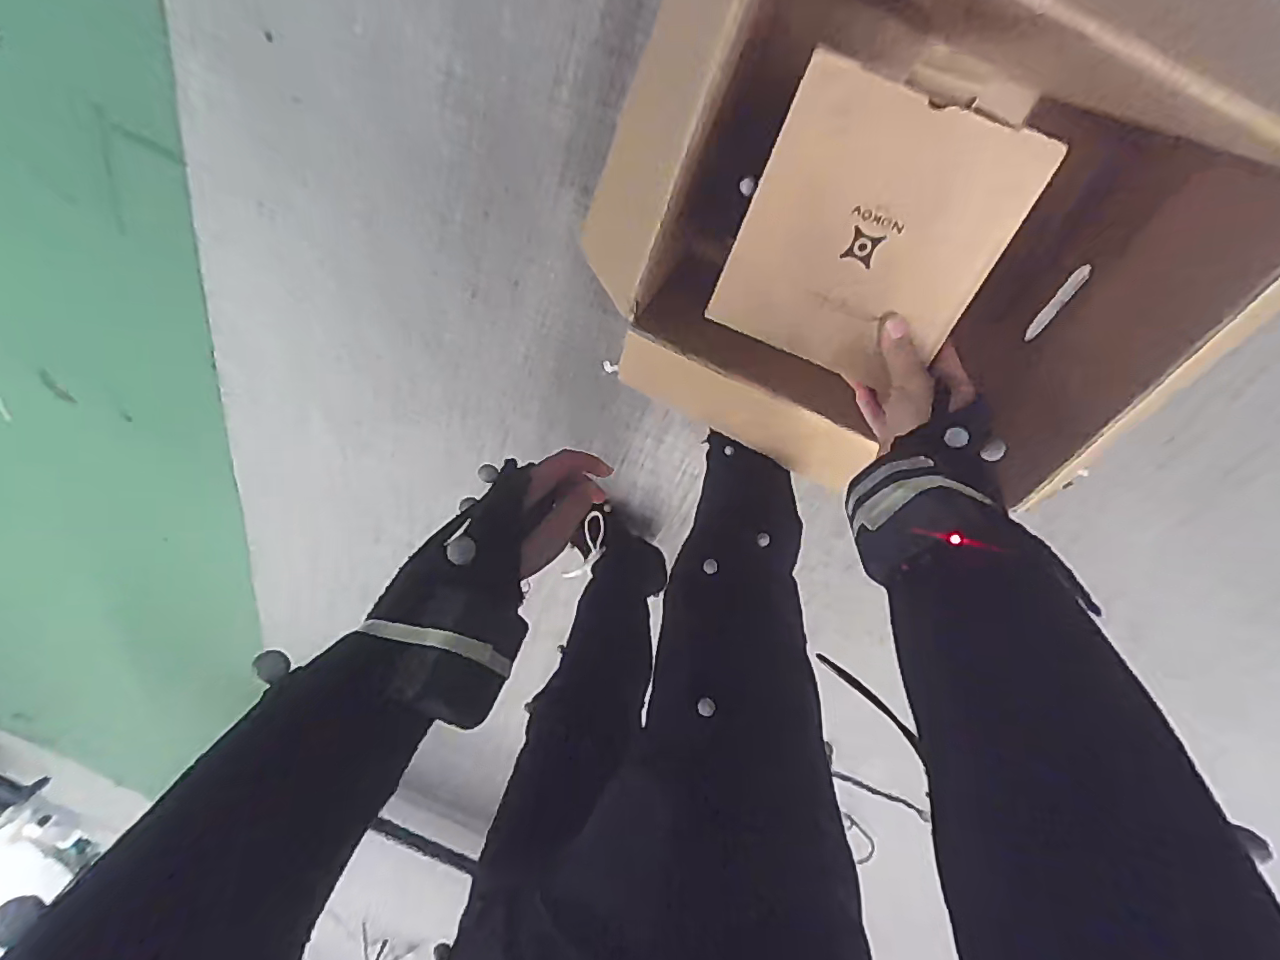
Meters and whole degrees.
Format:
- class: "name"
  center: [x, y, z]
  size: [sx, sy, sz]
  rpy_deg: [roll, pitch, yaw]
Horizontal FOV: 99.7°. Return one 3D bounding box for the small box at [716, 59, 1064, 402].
- class: "small box"
  center: [0.176, -0.193, 0.443]
  size: [0.168, 0.176, 0.179]
  rpy_deg: [24, 118, 4]
